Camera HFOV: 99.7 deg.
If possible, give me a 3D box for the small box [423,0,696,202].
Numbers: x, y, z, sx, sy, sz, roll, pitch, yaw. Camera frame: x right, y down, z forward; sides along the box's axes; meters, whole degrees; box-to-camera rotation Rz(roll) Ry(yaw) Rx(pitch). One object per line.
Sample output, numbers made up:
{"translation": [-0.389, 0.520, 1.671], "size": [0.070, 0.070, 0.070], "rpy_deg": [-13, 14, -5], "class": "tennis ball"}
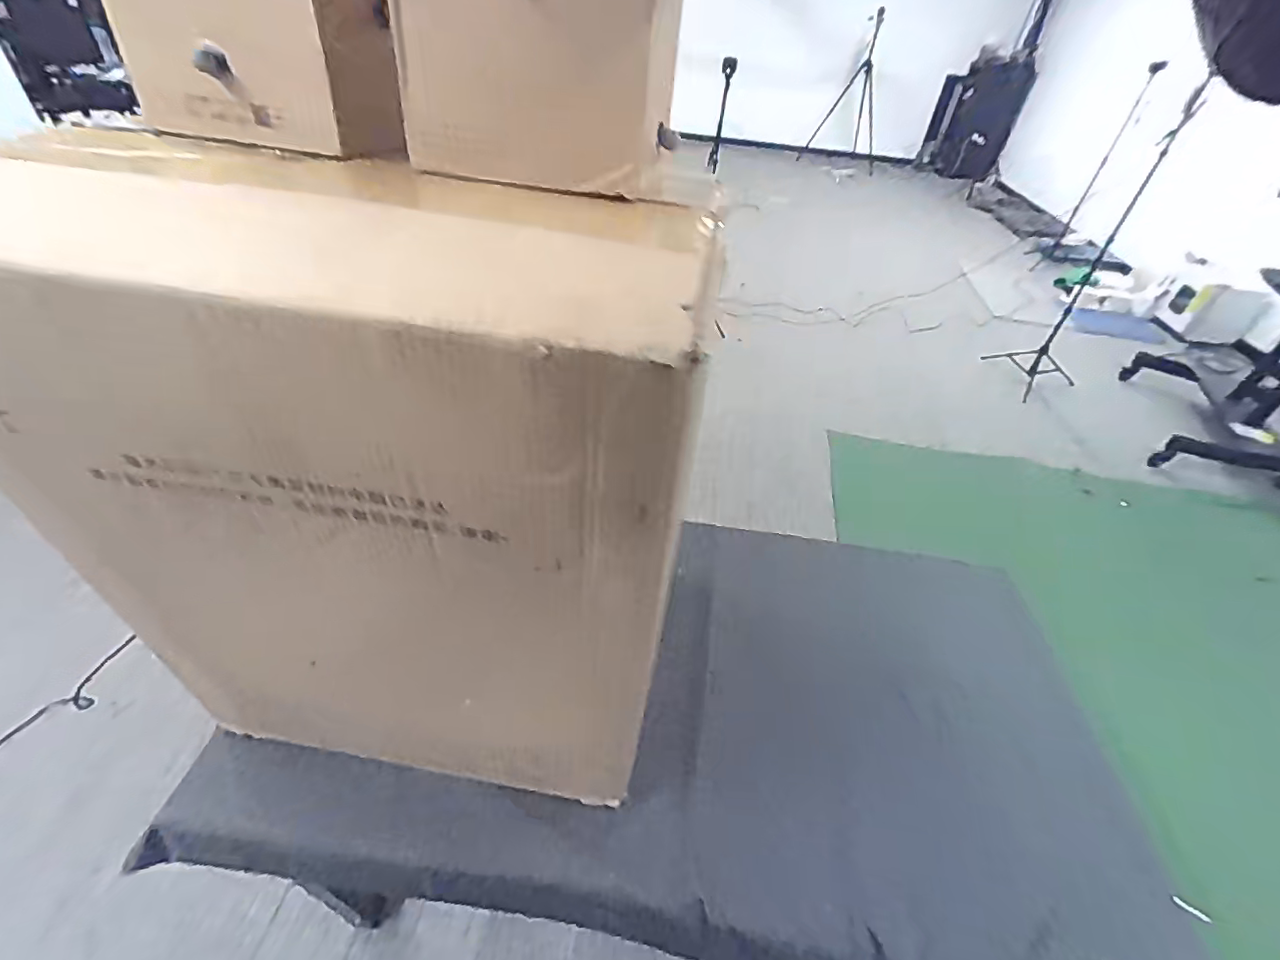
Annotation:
{"translation": [-0.057, -0.330, 0.423], "size": [0.179, 0.176, 0.168], "rpy_deg": [11, 38, 3], "class": "small box"}
